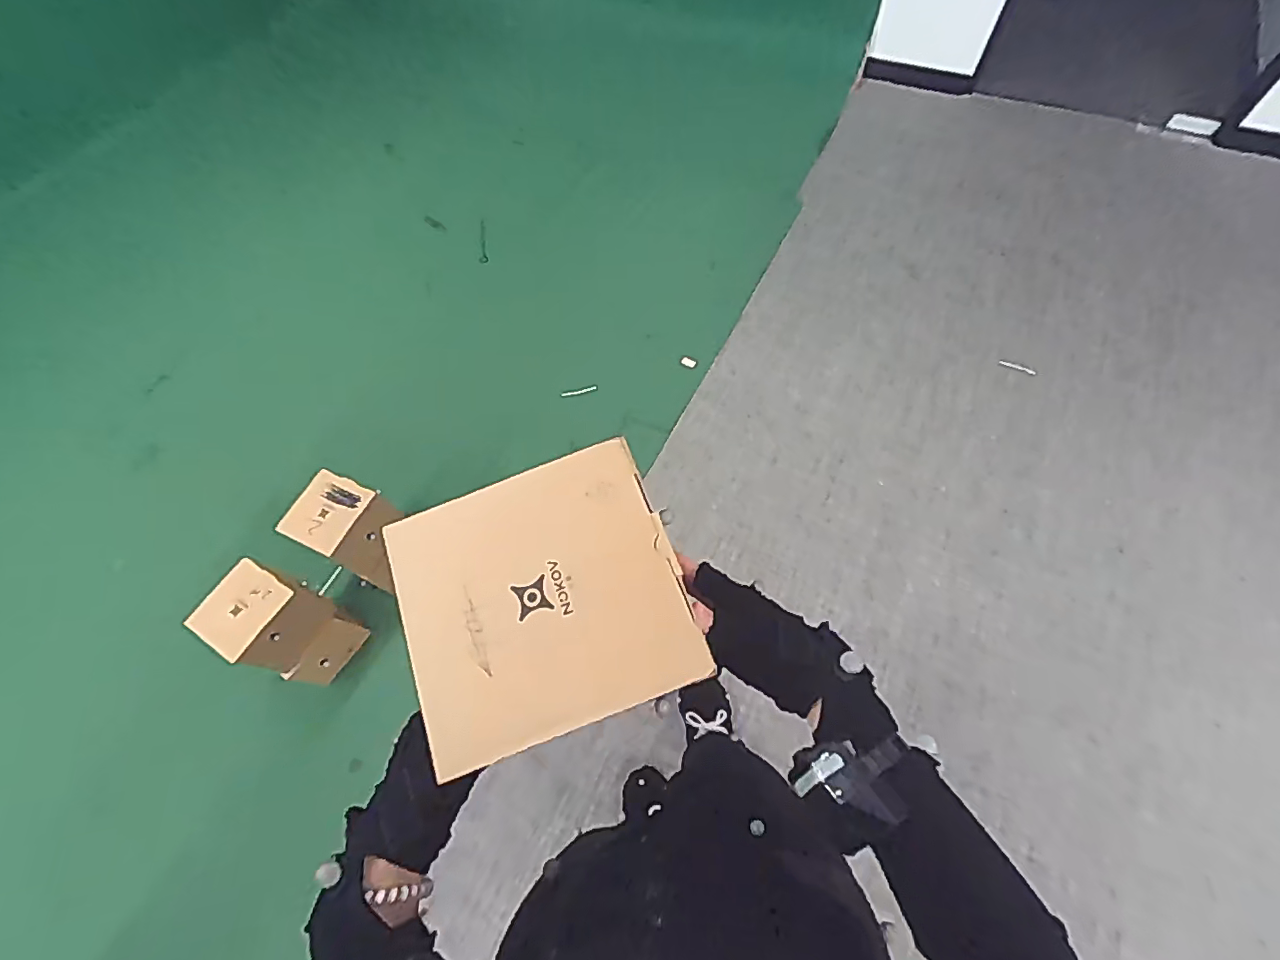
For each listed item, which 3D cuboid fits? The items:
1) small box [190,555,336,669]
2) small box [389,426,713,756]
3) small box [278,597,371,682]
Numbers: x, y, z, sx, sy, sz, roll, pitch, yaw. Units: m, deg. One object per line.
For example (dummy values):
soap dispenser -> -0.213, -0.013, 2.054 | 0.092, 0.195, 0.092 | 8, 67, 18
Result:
small box -> -0.845, 0.307, 1.231 | 0.168, 0.176, 0.179 | 28, 68, 17
small box -> -0.057, 0.087, 0.418 | 0.179, 0.176, 0.168 | -20, 70, -2
small box -> -0.830, 0.393, 1.371 | 0.179, 0.176, 0.168 | 28, 68, 17
